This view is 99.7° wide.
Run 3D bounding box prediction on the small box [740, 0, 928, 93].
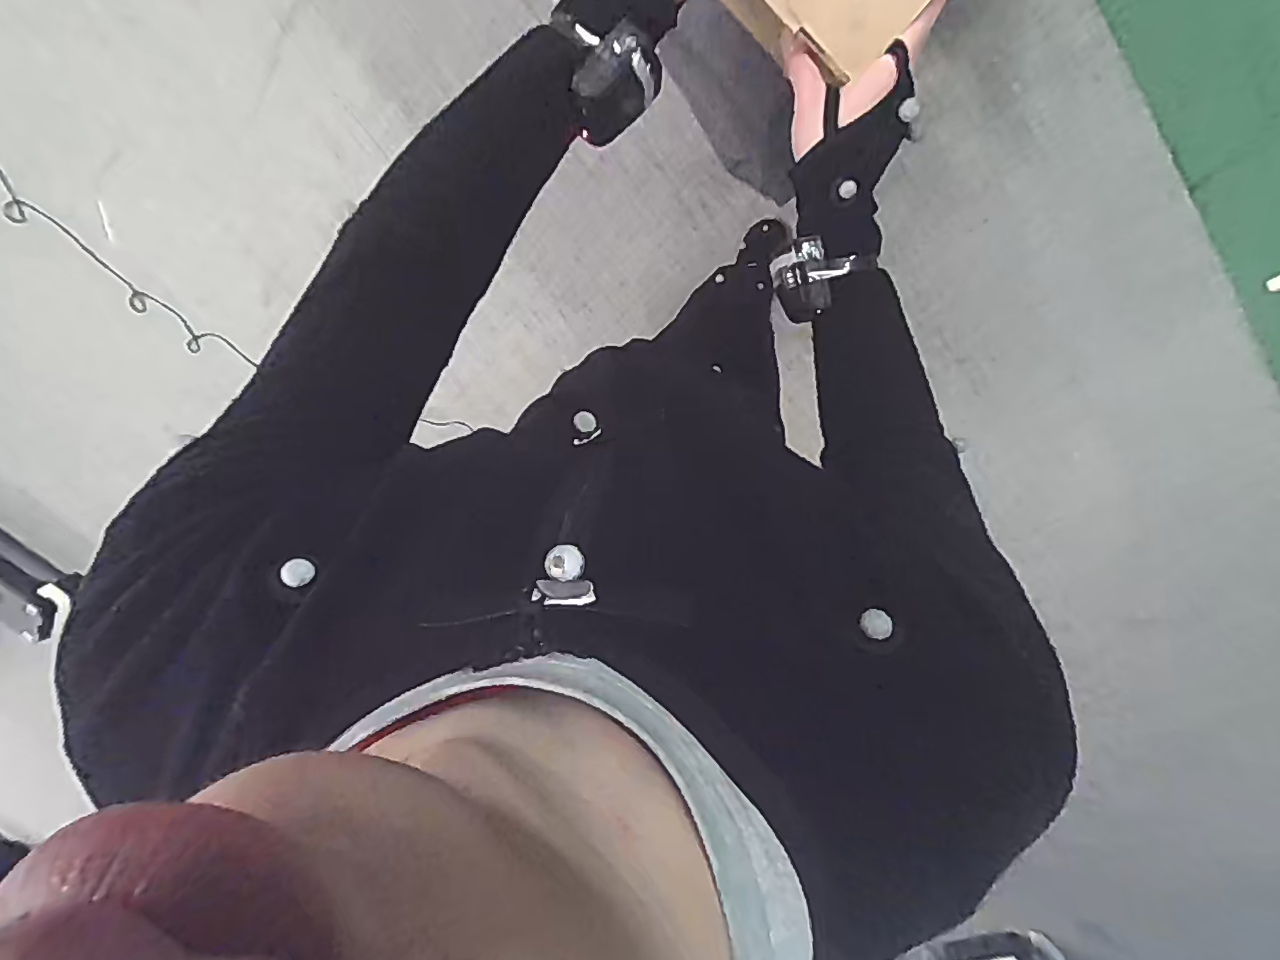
[{"bbox_3d":[0.167,-0.439,0.413,0.168,0.176,0.179,38,118,-15],"label":"small box"}]
